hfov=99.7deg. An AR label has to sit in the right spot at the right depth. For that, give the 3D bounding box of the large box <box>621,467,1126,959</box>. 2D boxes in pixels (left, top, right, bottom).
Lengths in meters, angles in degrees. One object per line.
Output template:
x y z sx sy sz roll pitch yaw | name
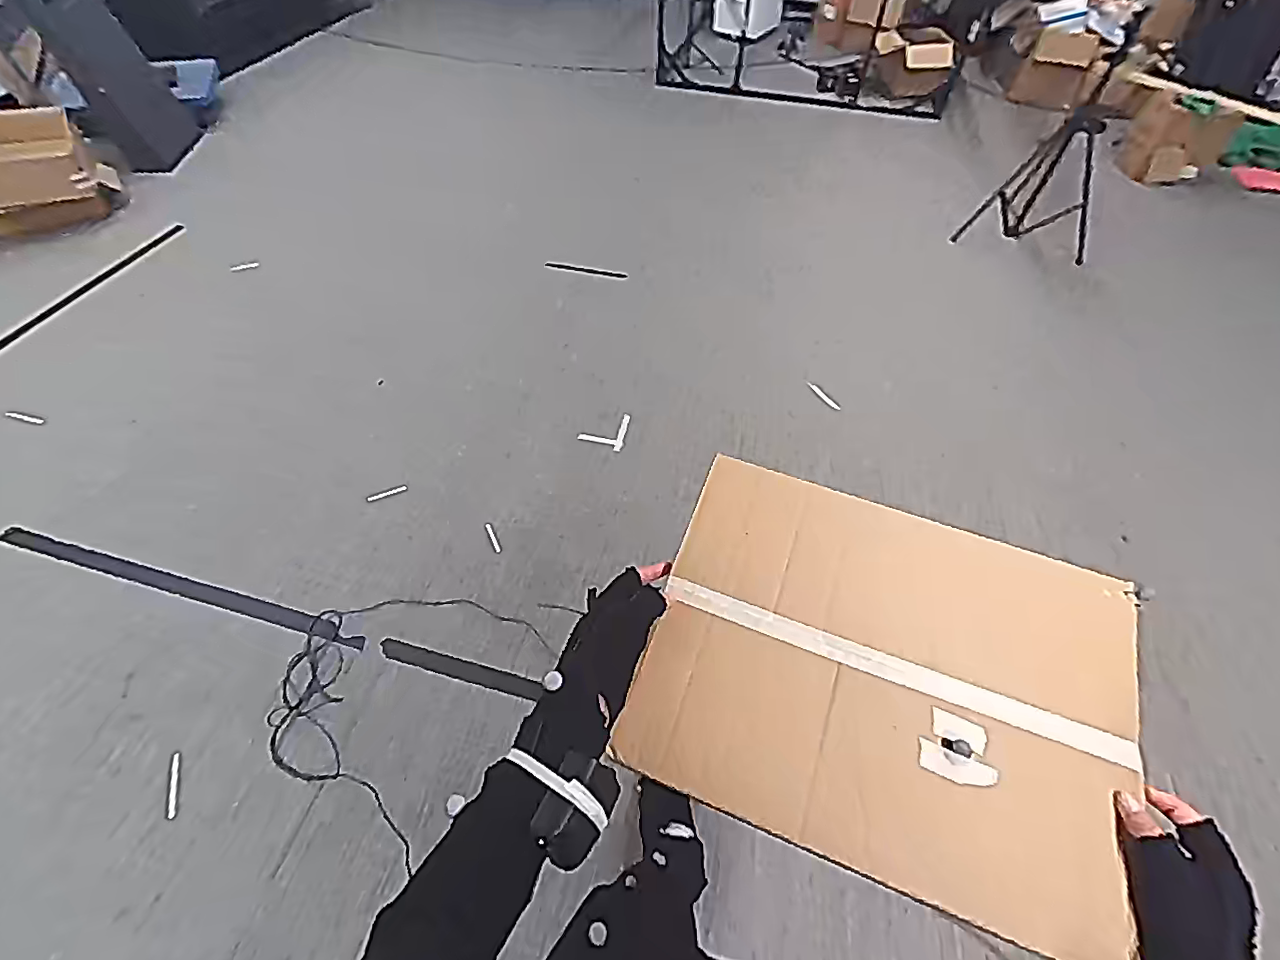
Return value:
0.222 0.237 0.623 0.408 0.320 0.320 19 65 12 | large box
